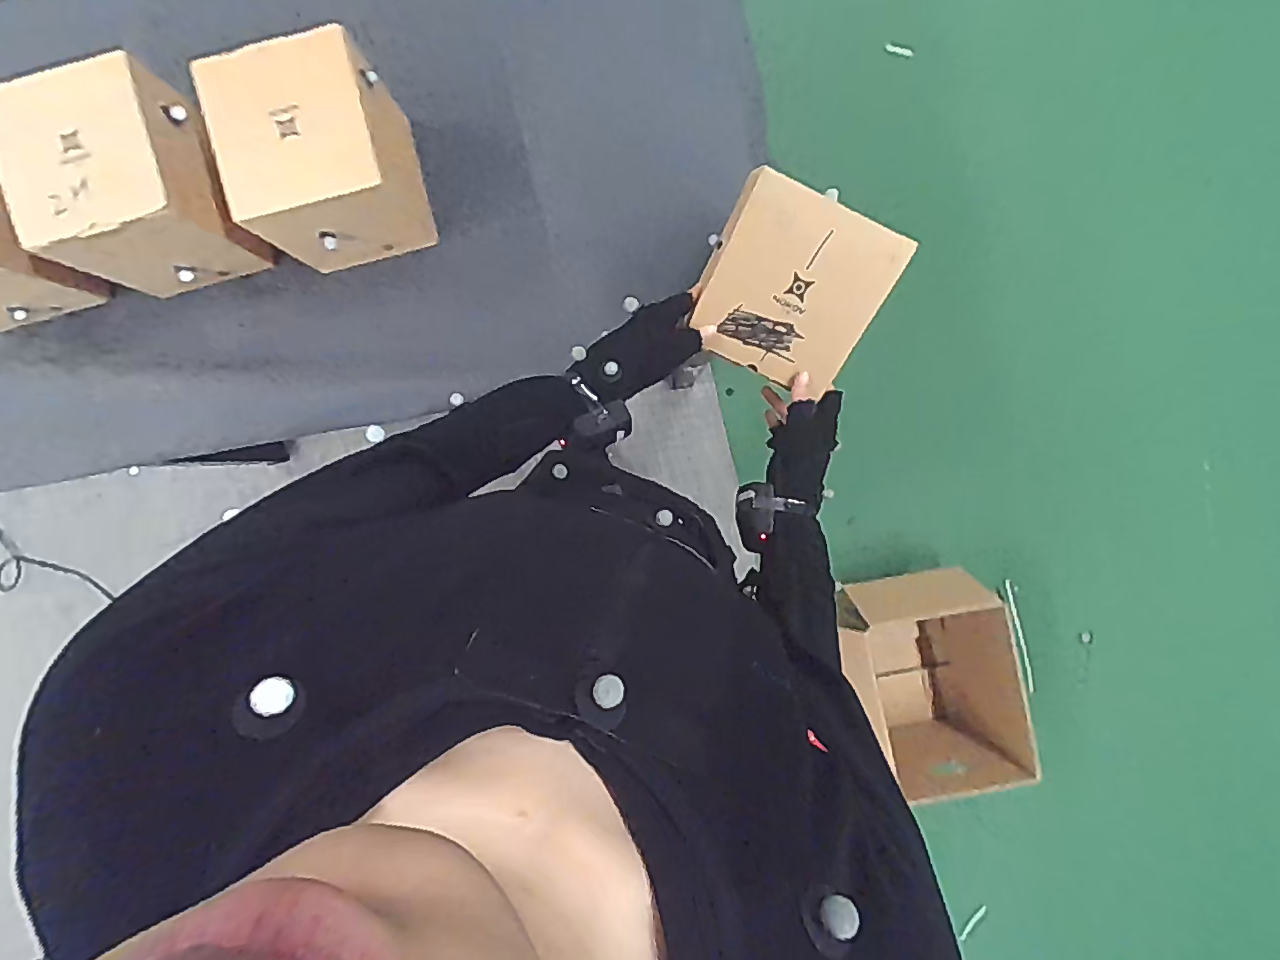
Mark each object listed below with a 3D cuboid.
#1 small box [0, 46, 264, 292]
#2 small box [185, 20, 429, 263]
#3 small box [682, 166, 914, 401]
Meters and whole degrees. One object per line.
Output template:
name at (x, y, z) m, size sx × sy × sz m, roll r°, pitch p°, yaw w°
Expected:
small box at (-0.599, -0.351, 0.645) m, size 0.168 × 0.176 × 0.179 m, roll -15°, pitch 92°, yaw 0°
small box at (-0.377, -0.380, 0.648) m, size 0.168 × 0.176 × 0.179 m, roll -15°, pitch 92°, yaw 0°
small box at (0.162, -0.221, 0.608) m, size 0.168 × 0.176 × 0.179 m, roll 24°, pitch 117°, yaw -6°
